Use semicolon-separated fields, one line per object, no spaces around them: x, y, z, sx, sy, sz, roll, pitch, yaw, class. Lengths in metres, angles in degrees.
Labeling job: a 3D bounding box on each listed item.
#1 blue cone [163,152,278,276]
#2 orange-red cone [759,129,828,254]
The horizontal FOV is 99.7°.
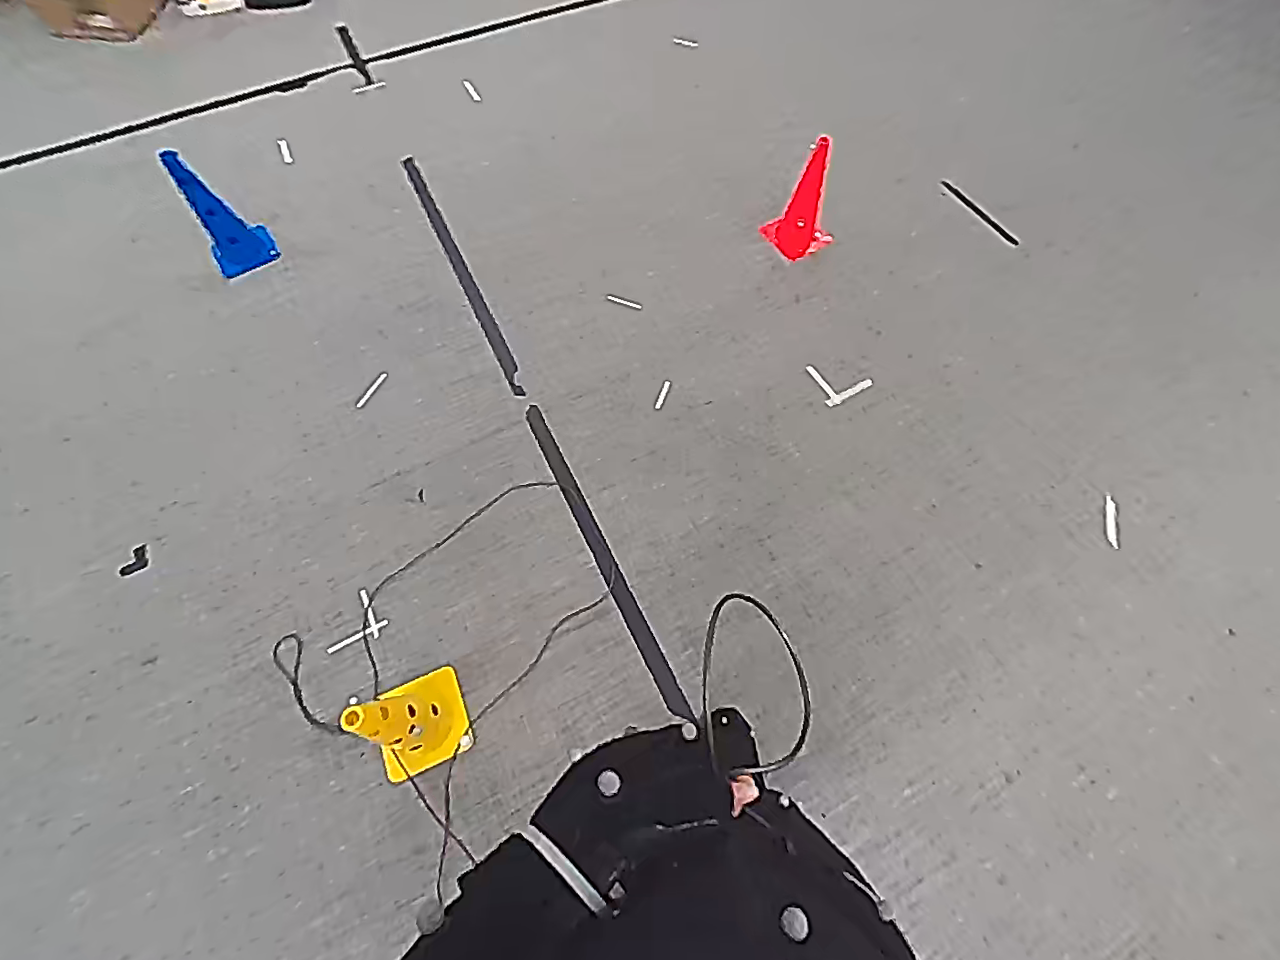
-1.403;-0.877;1.767;0.192;0.380;0.193;-30;68;-13;blue cone
0.552;-0.980;1.801;0.198;0.360;0.199;-30;67;-13;orange-red cone
